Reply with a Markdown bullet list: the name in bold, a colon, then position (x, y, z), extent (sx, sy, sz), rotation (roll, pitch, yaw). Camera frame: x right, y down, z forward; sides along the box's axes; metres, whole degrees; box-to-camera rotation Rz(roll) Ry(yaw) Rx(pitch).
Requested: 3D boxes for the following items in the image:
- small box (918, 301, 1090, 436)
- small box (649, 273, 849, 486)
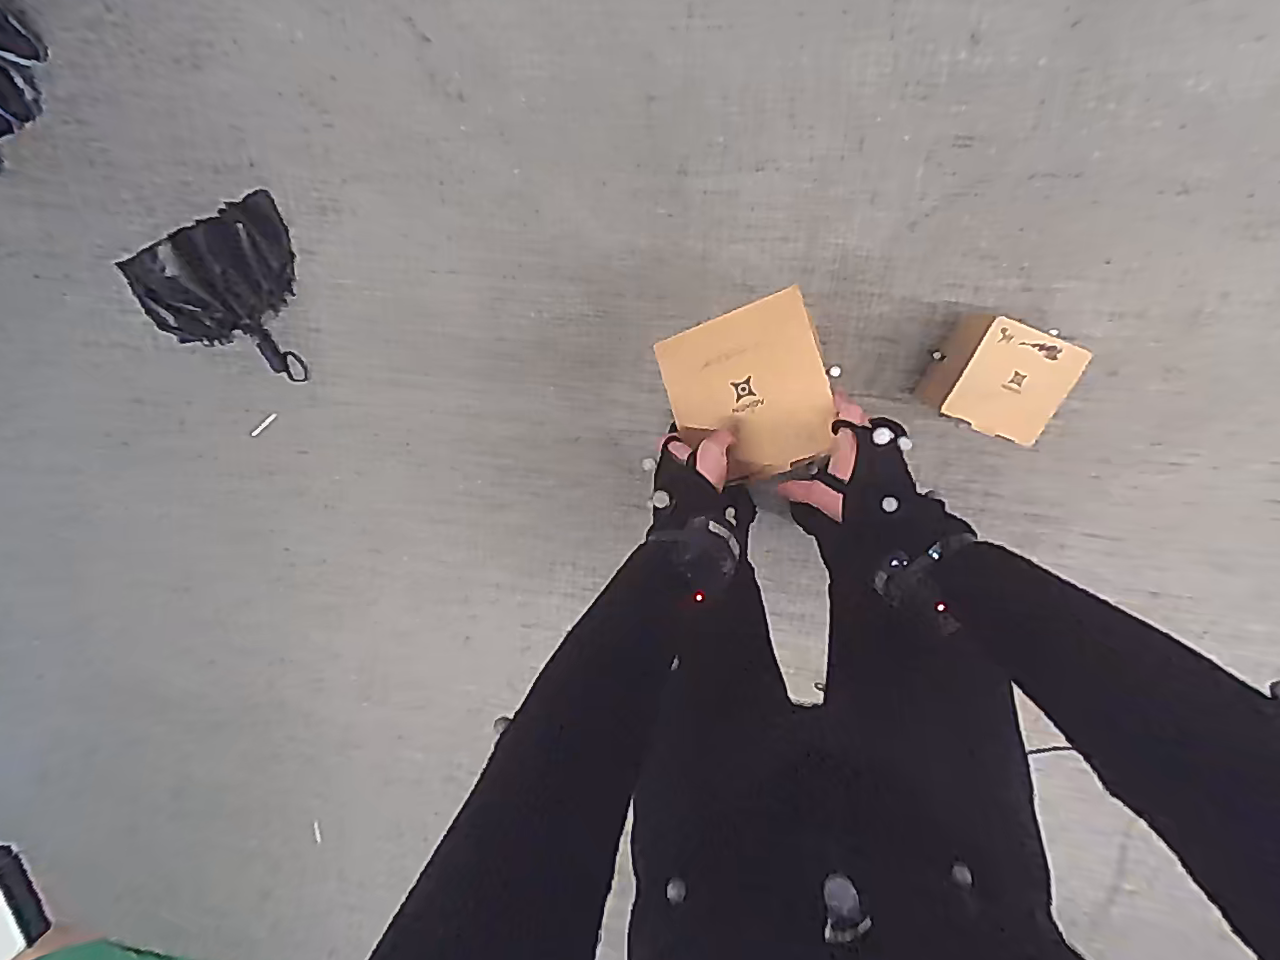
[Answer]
- **small box**: position (0.628, -0.205, 0.966), extent (0.168, 0.176, 0.179), rotation (23, 112, 3)
- **small box**: position (0.135, -0.103, 0.625), extent (0.168, 0.176, 0.179), rotation (-19, 86, 22)
